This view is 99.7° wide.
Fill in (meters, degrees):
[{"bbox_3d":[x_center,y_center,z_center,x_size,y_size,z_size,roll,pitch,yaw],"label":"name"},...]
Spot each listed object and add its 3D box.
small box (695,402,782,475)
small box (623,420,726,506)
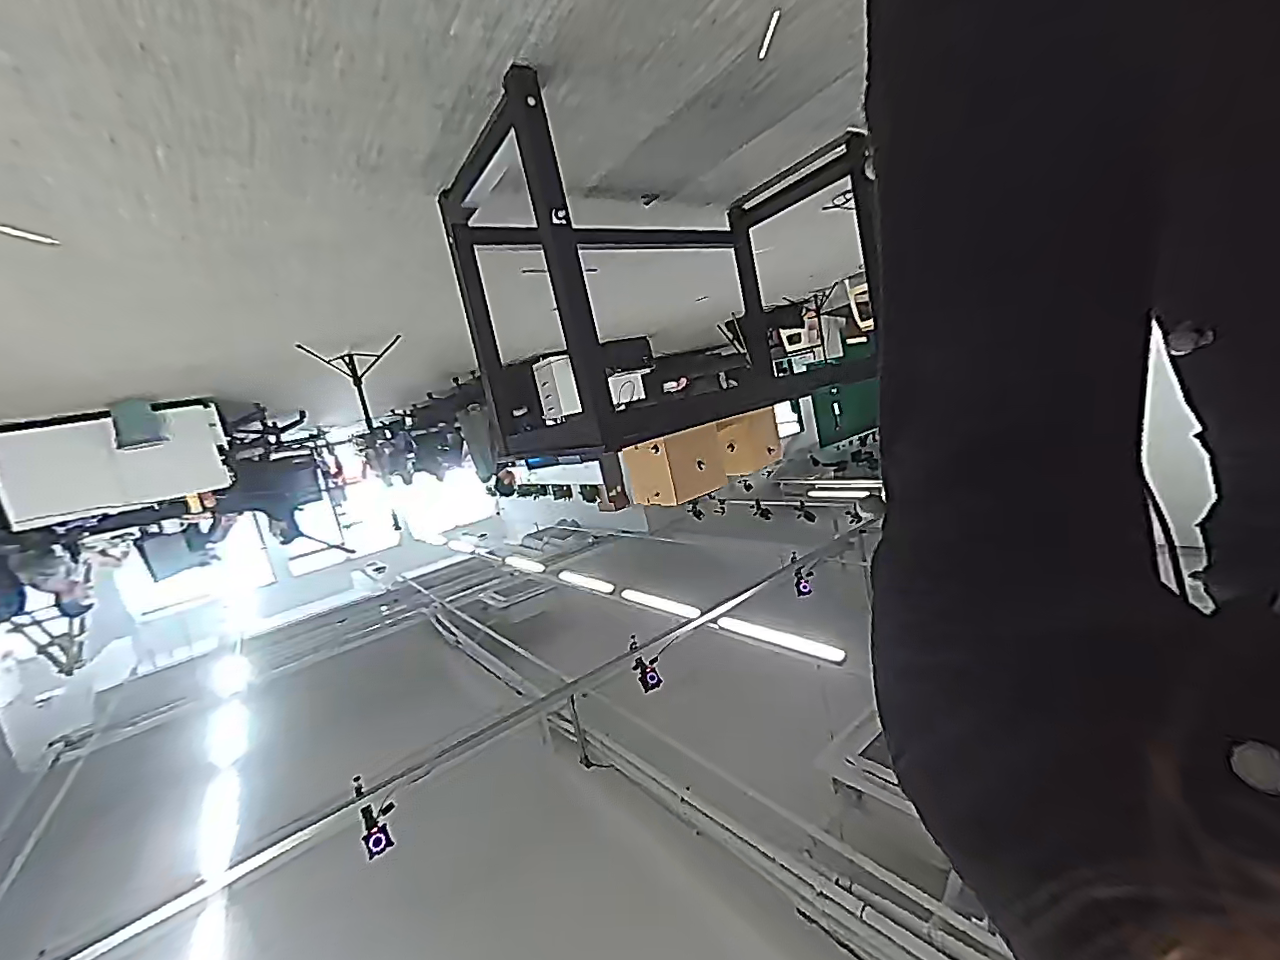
[{"bbox_3d":[0.275,-0.114,1.512,0.168,0.176,0.179,-5,-168,41],"label":"small box"},{"bbox_3d":[0.080,-0.041,1.323,0.179,0.176,0.168,-20,-169,-36],"label":"small box"}]
